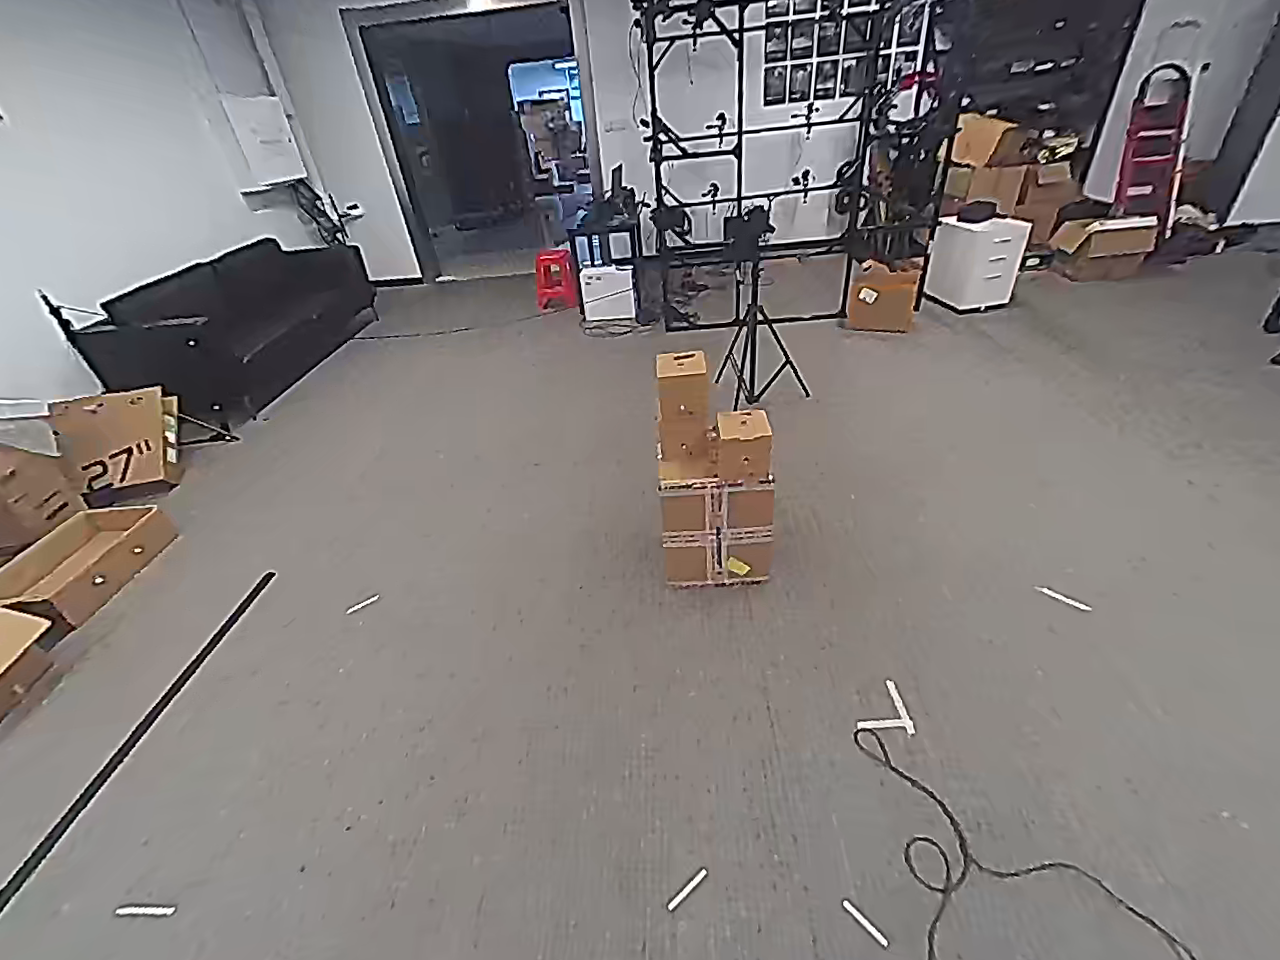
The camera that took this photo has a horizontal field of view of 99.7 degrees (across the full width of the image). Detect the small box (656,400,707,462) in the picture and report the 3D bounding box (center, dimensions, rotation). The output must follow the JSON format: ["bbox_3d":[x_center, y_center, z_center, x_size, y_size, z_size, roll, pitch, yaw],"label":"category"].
[{"bbox_3d":[0.149,-0.185,1.964,0.168,0.176,0.179,-7,37,3],"label":"small box"}]

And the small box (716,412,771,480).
[{"bbox_3d":[0.346,-0.111,1.827,0.168,0.176,0.179,-3,37,4],"label":"small box"}]

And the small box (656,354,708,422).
[{"bbox_3d":[0.145,-0.316,1.863,0.168,0.176,0.179,-5,37,5],"label":"small box"}]
